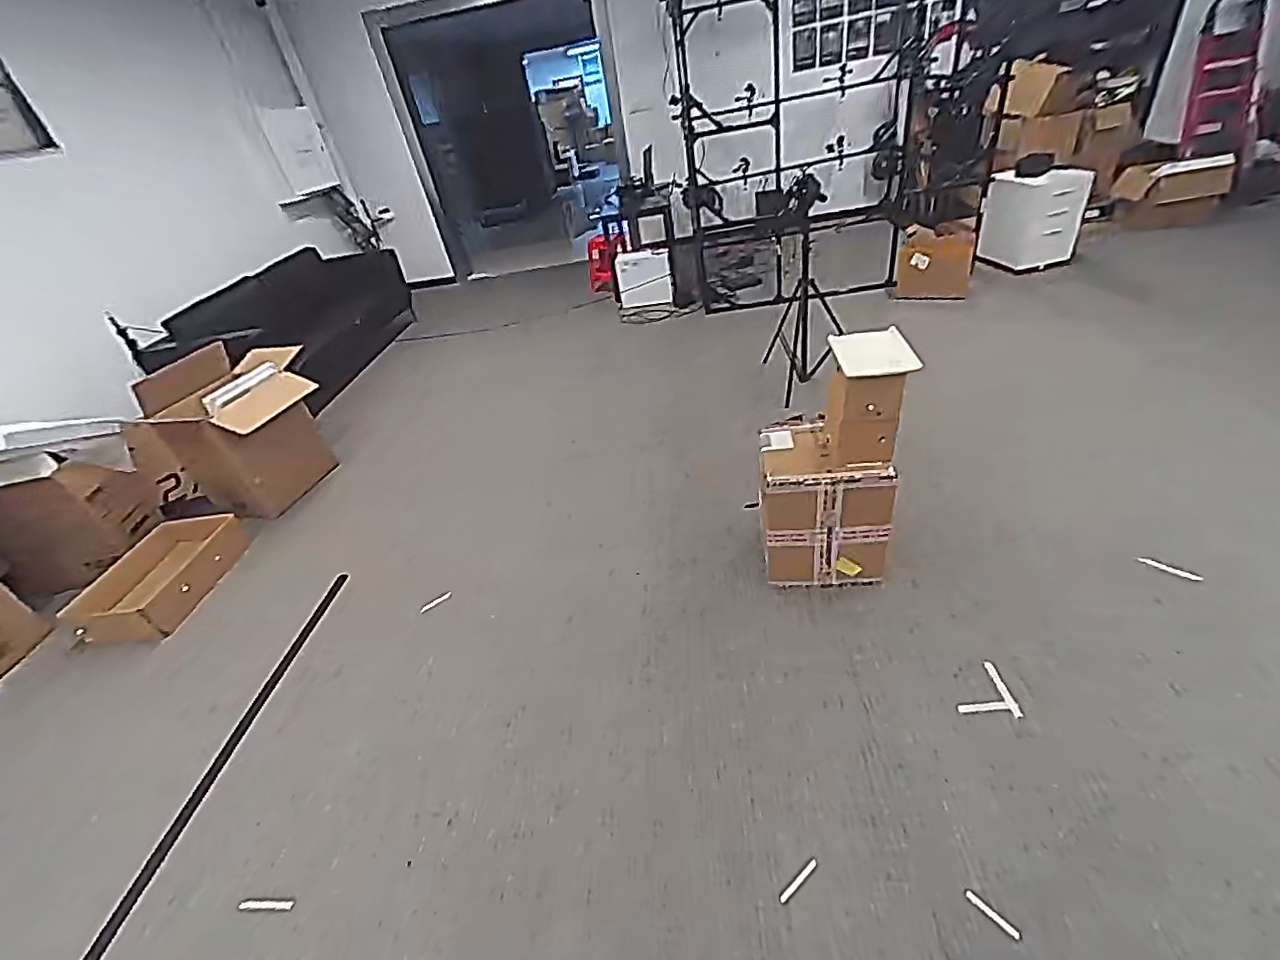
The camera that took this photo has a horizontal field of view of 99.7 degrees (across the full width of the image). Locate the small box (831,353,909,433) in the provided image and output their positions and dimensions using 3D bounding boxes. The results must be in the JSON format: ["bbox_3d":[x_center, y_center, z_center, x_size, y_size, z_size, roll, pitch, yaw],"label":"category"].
[{"bbox_3d":[0.669,-0.256,1.592,0.168,0.176,0.179,-3,38,8],"label":"small box"}]

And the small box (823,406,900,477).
[{"bbox_3d":[0.686,-0.126,1.691,0.179,0.176,0.168,-6,37,5],"label":"small box"}]
